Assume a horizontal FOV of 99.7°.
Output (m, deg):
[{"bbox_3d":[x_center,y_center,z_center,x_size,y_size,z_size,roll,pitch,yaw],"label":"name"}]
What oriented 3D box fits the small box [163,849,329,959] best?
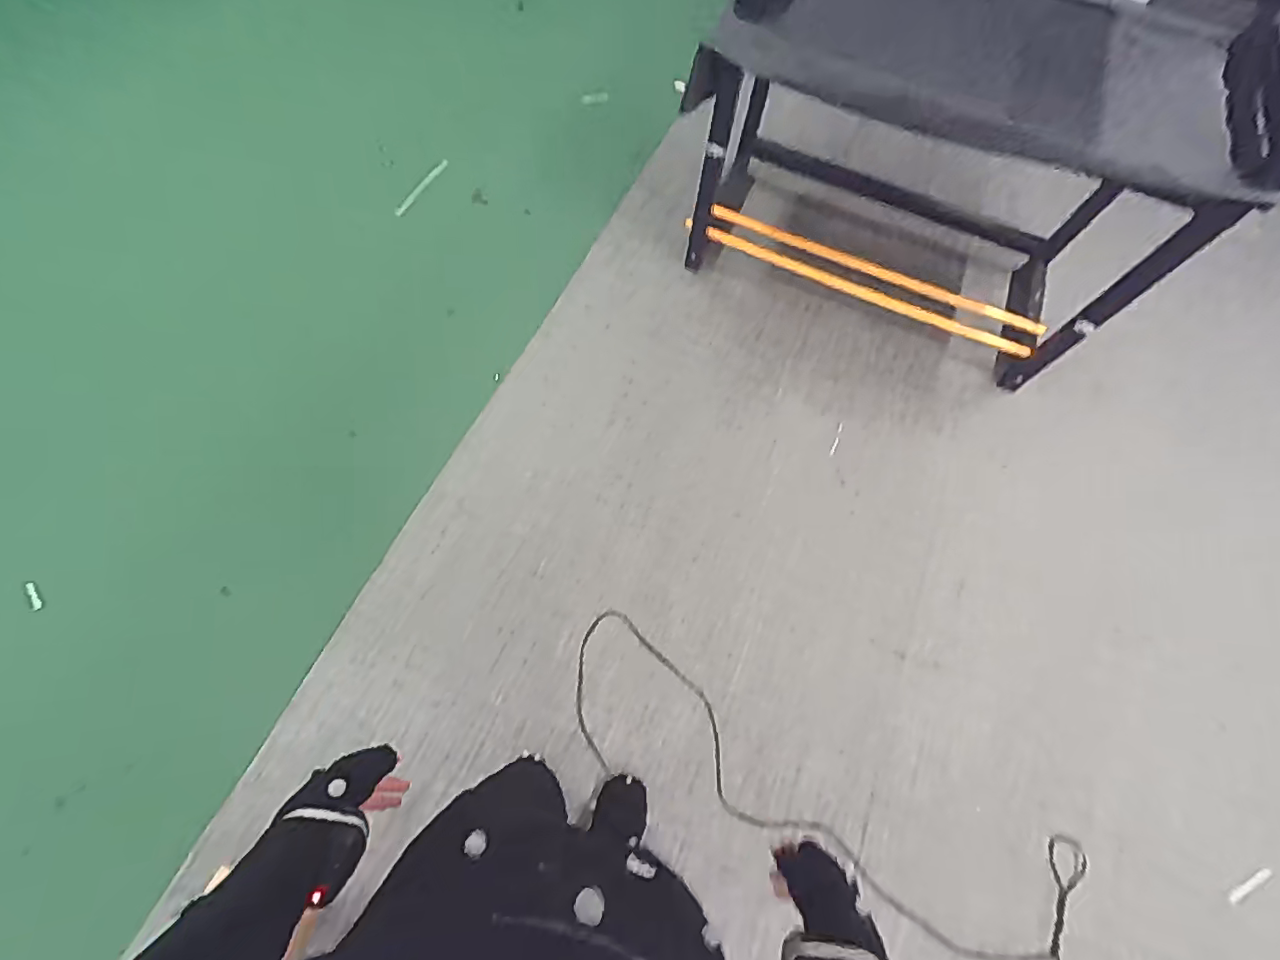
[{"bbox_3d":[-0.734,0.844,1.031,0.168,0.176,0.179,24,66,6],"label":"small box"}]
